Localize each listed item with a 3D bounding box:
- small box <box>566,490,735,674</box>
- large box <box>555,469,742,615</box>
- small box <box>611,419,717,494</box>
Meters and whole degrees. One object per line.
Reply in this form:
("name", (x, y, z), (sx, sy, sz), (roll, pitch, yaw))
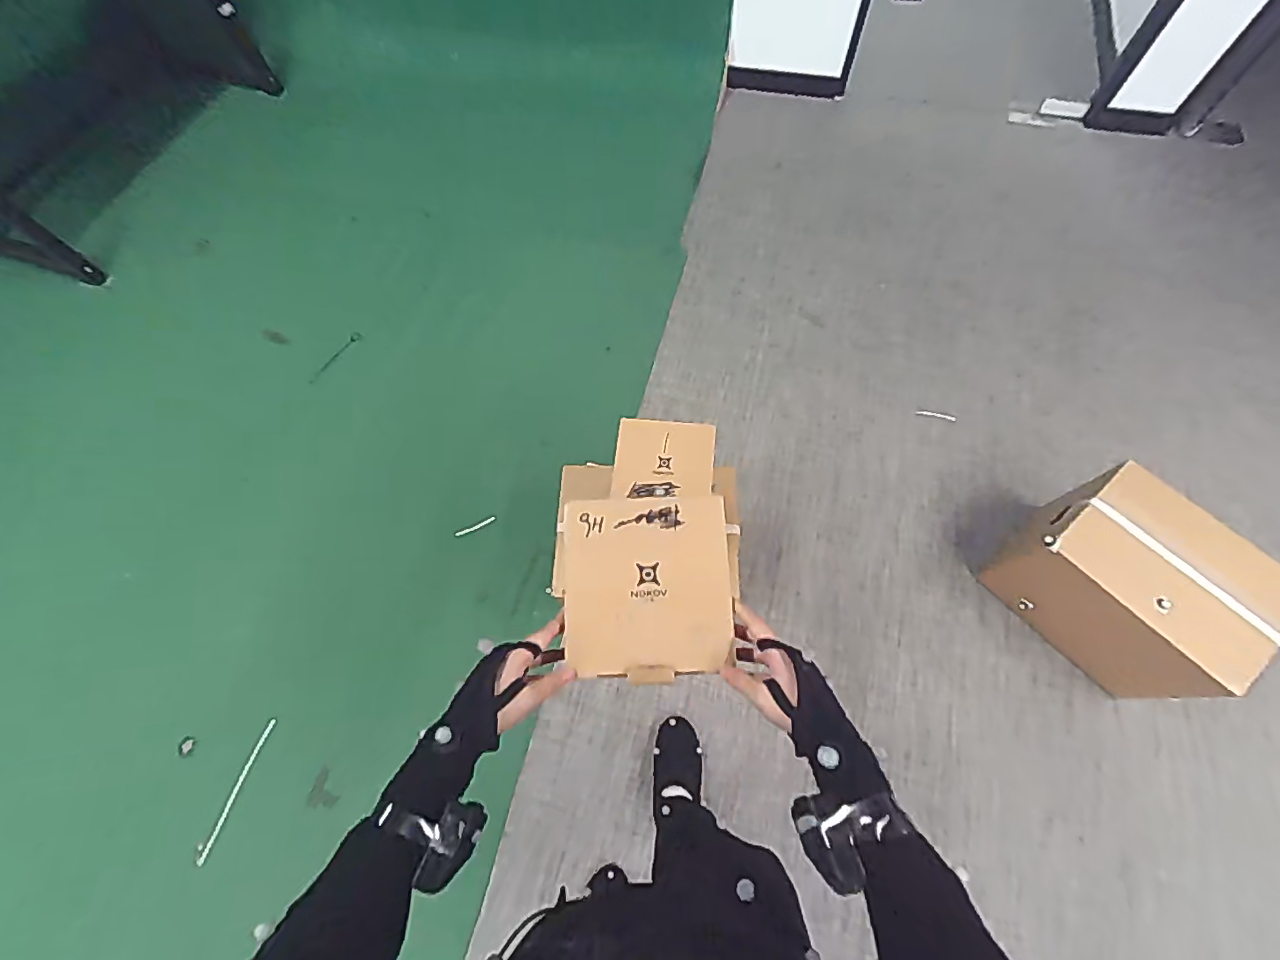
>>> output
("small box", (0.009, 0.115, 0.611), (0.168, 0.176, 0.179), (-2, 76, -1))
("large box", (0.029, 0.178, 1.338), (0.408, 0.320, 0.320), (-1, 65, 4))
("small box", (0.045, 0.012, 0.962), (0.168, 0.176, 0.179), (5, 68, 5))
